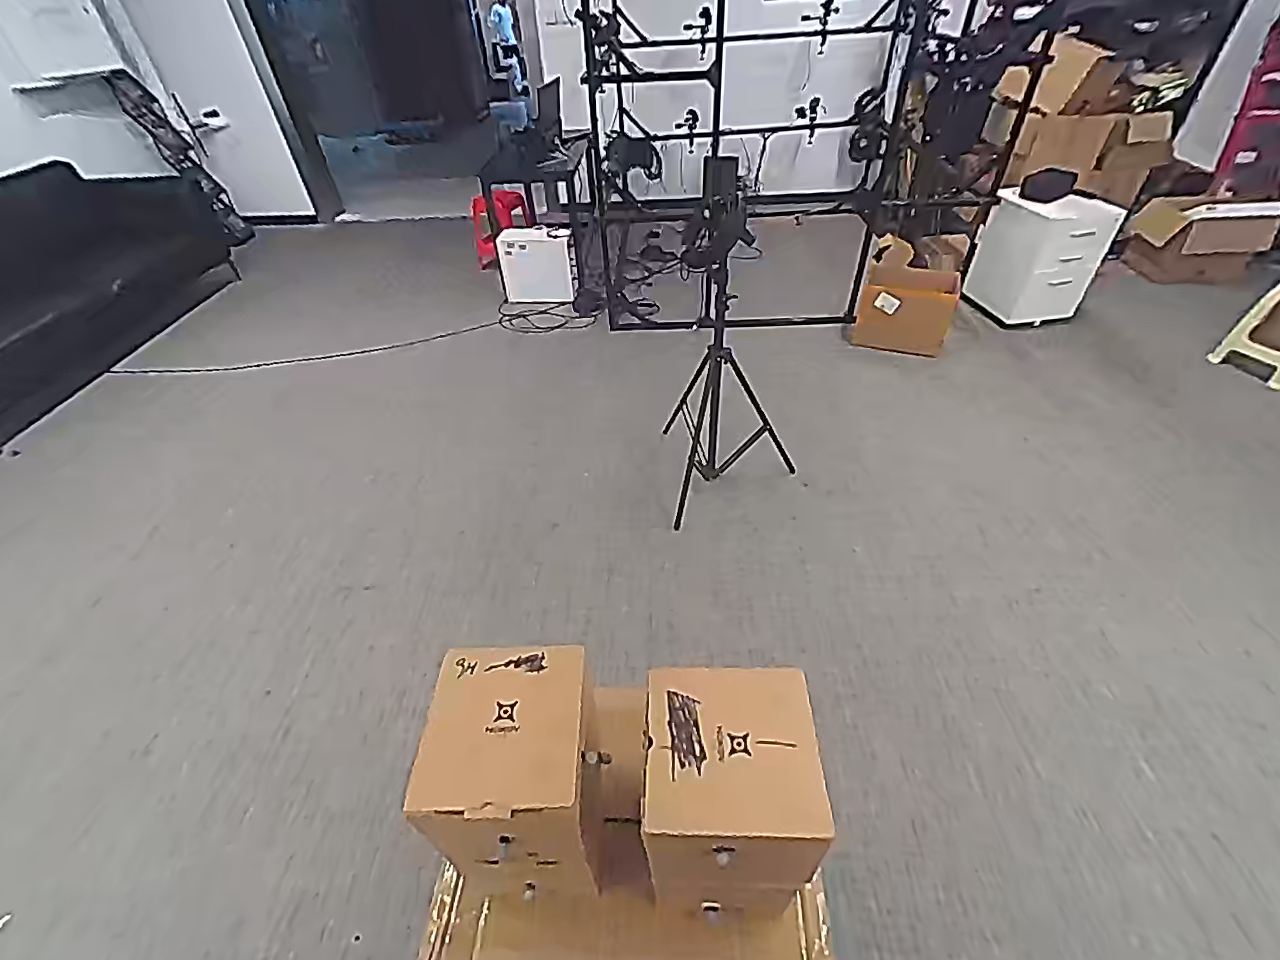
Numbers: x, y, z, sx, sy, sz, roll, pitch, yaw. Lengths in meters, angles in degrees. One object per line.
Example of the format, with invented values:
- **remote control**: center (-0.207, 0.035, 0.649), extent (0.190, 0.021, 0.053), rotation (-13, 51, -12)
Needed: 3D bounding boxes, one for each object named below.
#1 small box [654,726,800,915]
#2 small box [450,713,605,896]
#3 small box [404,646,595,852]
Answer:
- **small box**: center (0.105, 0.448, 0.716), extent (0.168, 0.176, 0.179), rotation (-2, 43, 5)
- **small box**: center (-0.137, 0.439, 0.739), extent (0.168, 0.176, 0.179), rotation (0, 42, 2)
- **small box**: center (-0.143, 0.316, 0.630), extent (0.168, 0.176, 0.179), rotation (-2, 43, 1)
